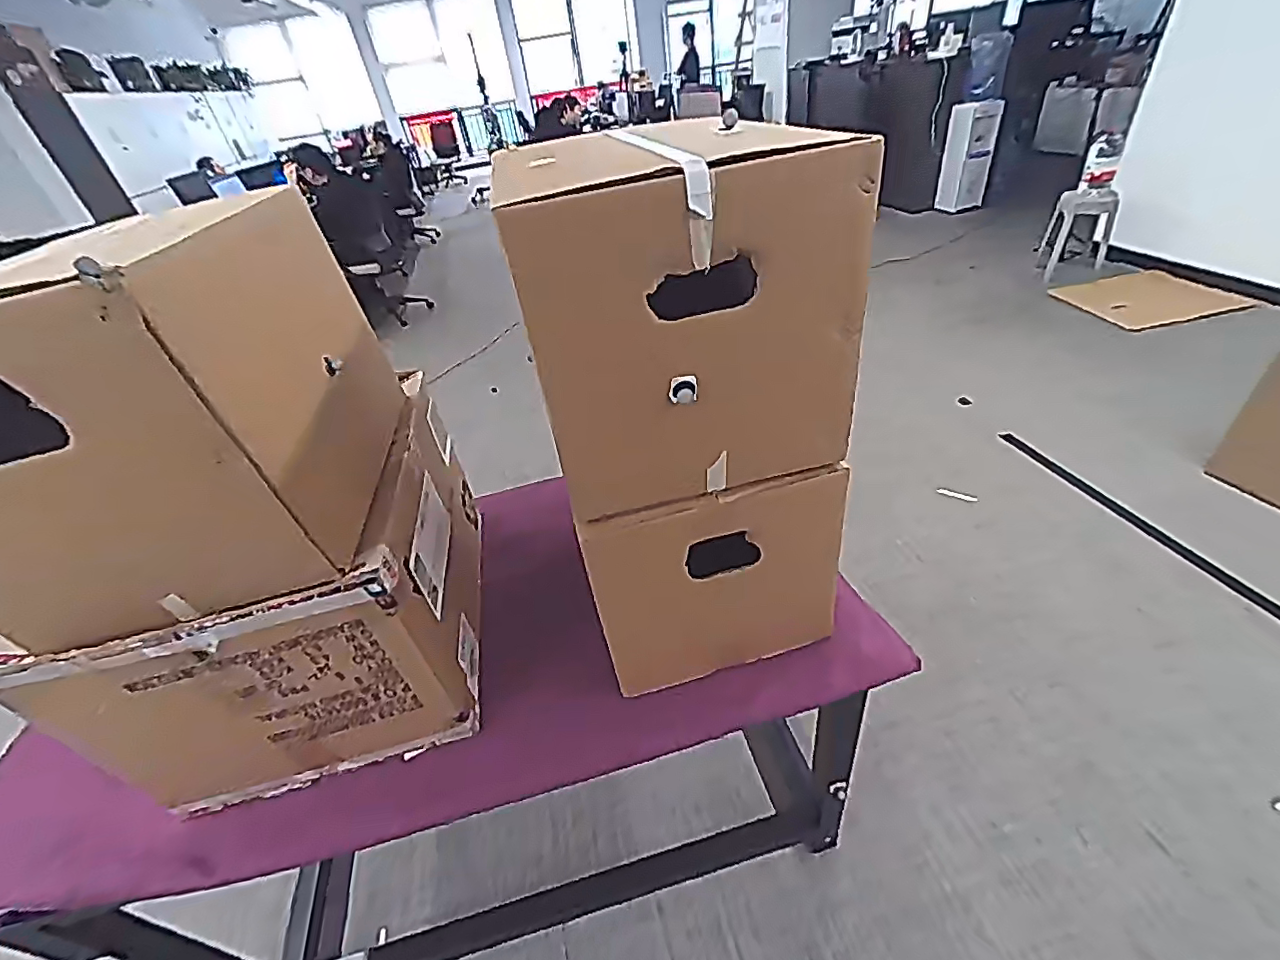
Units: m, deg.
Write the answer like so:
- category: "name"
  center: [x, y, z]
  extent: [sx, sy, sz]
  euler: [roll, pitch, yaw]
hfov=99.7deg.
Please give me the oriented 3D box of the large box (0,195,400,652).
- category: "large box"
  center: [-0.507, -0.092, 0.613]
  extent: [0.320, 0.320, 0.408]
  euler: [-17, 38, -3]
